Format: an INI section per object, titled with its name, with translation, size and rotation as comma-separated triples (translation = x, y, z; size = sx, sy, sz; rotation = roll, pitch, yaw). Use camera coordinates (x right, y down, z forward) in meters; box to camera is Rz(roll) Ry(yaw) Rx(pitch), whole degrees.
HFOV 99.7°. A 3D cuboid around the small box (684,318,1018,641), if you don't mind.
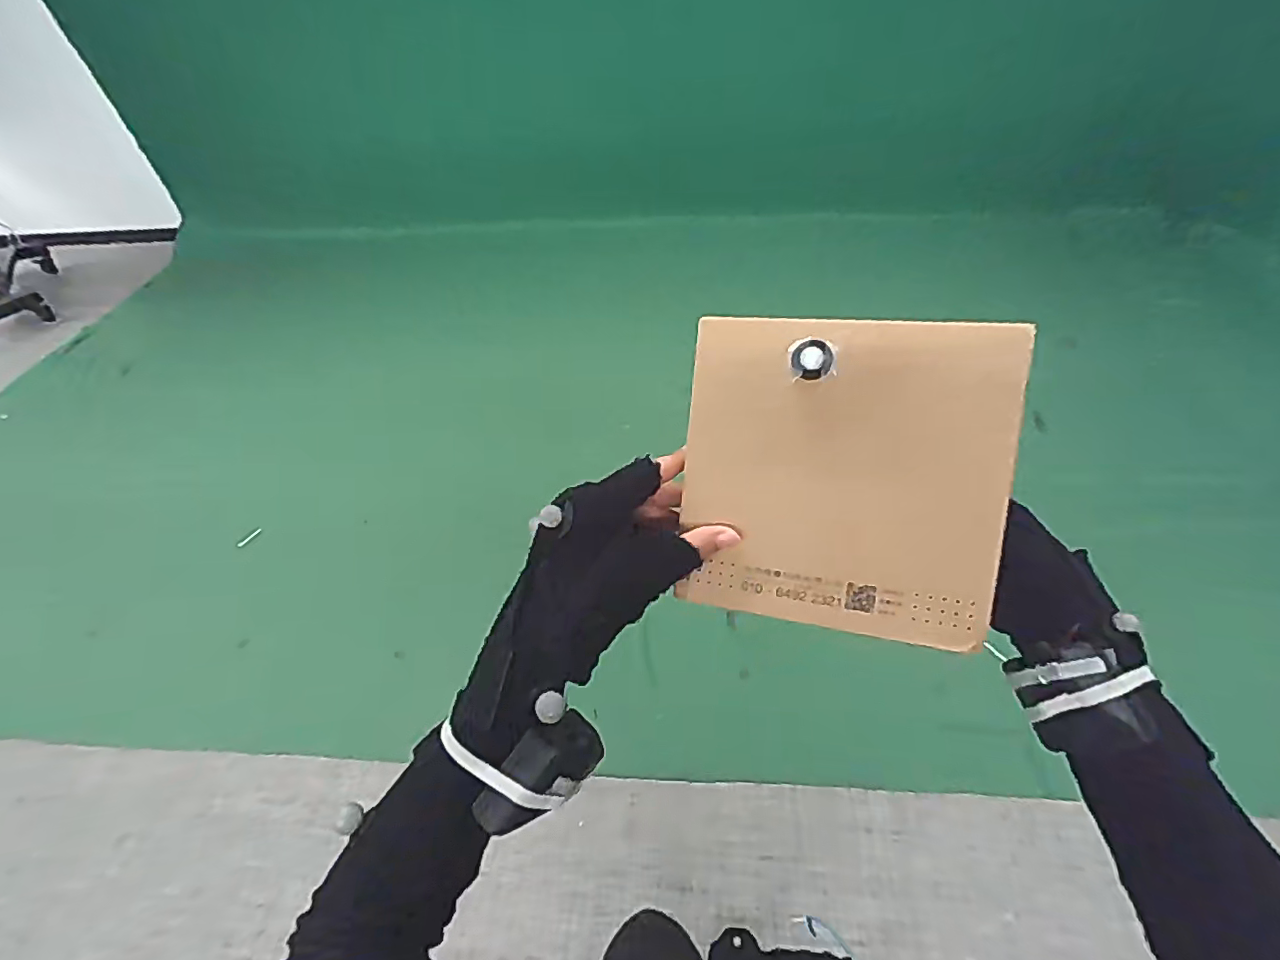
[small box]
translation = 0.132, -0.007, 0.381
size = 0.168, 0.176, 0.179
rotation = 7, 5, 18
